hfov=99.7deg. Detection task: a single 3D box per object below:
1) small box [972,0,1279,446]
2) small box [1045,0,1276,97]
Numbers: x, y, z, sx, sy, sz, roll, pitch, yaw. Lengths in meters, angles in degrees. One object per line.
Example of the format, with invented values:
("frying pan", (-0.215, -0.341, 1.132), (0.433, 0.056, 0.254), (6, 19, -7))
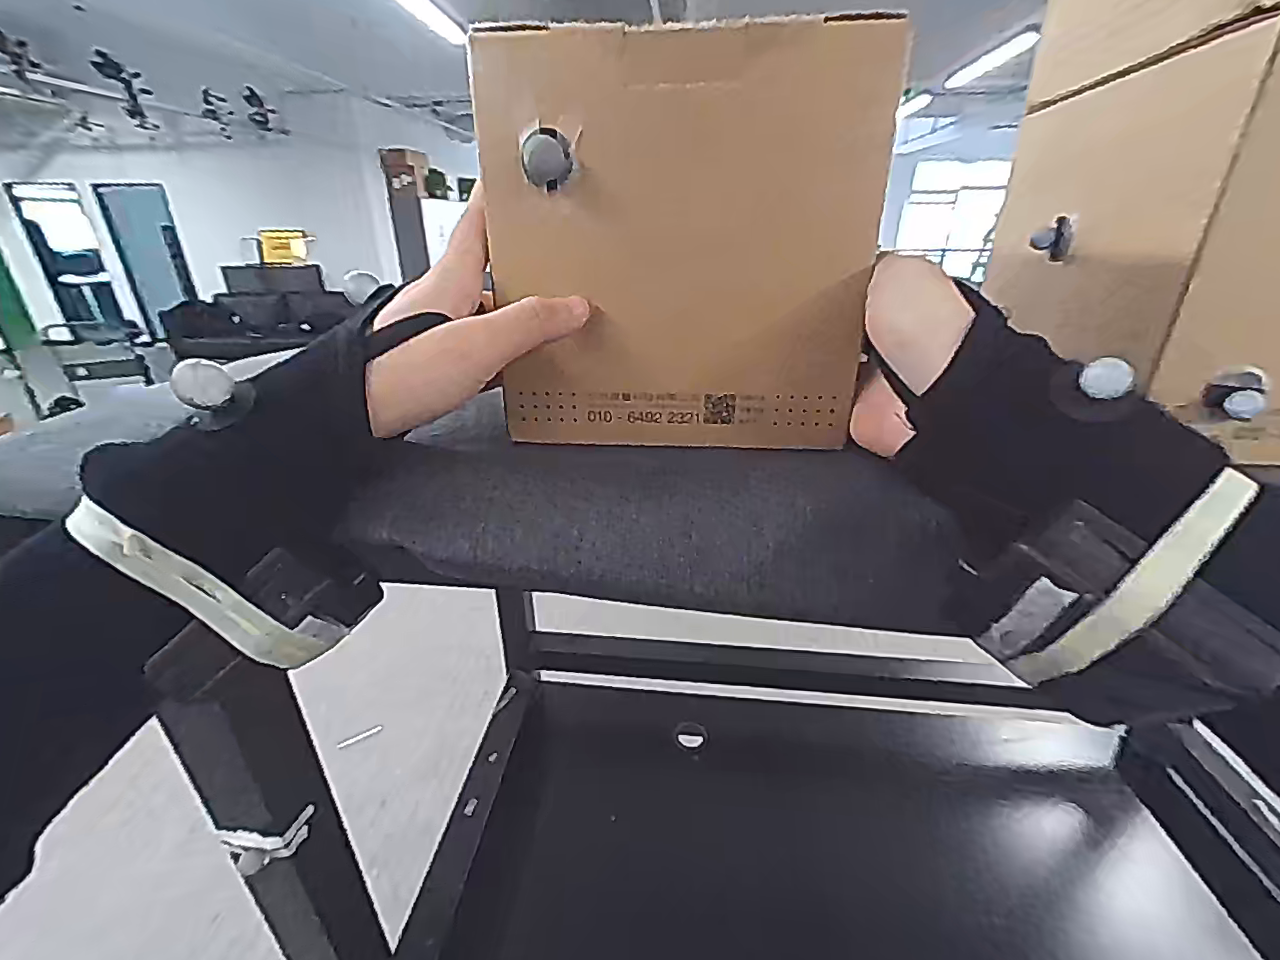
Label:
("small box", (0.310, -0.118, 0.281), (0.168, 0.176, 0.179), (3, 23, 6))
("small box", (0.311, -0.268, 0.218), (0.168, 0.176, 0.179), (2, 24, 7))
